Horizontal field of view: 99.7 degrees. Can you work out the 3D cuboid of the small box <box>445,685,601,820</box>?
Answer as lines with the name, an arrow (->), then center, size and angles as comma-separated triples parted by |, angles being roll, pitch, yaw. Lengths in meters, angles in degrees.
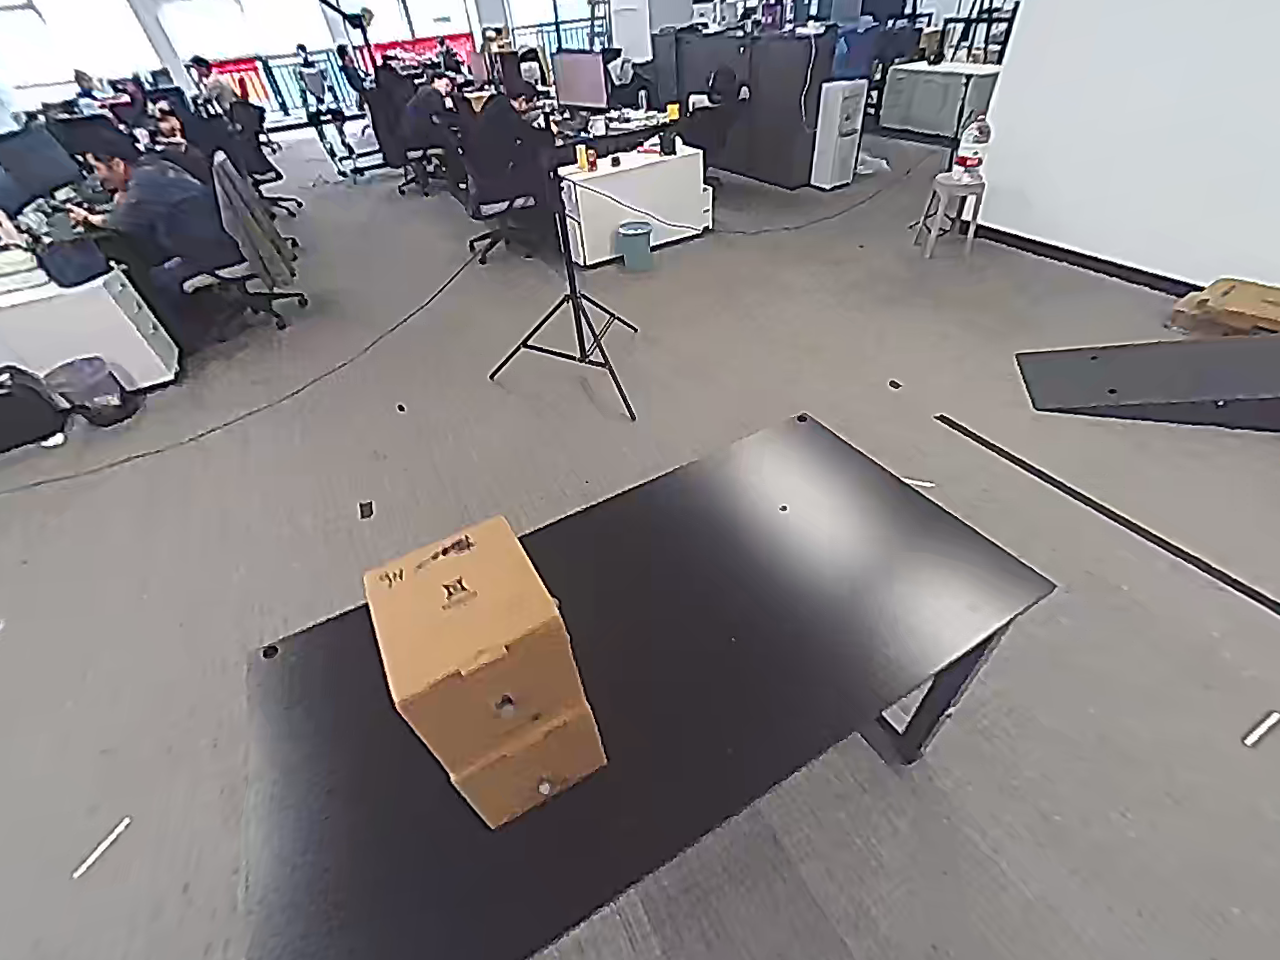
small box -> -0.165, 0.306, 0.719 | 0.168, 0.176, 0.179 | -22, 45, -17

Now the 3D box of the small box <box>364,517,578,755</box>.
small box -> -0.184, 0.181, 0.615 | 0.168, 0.176, 0.179 | -24, 46, -19
